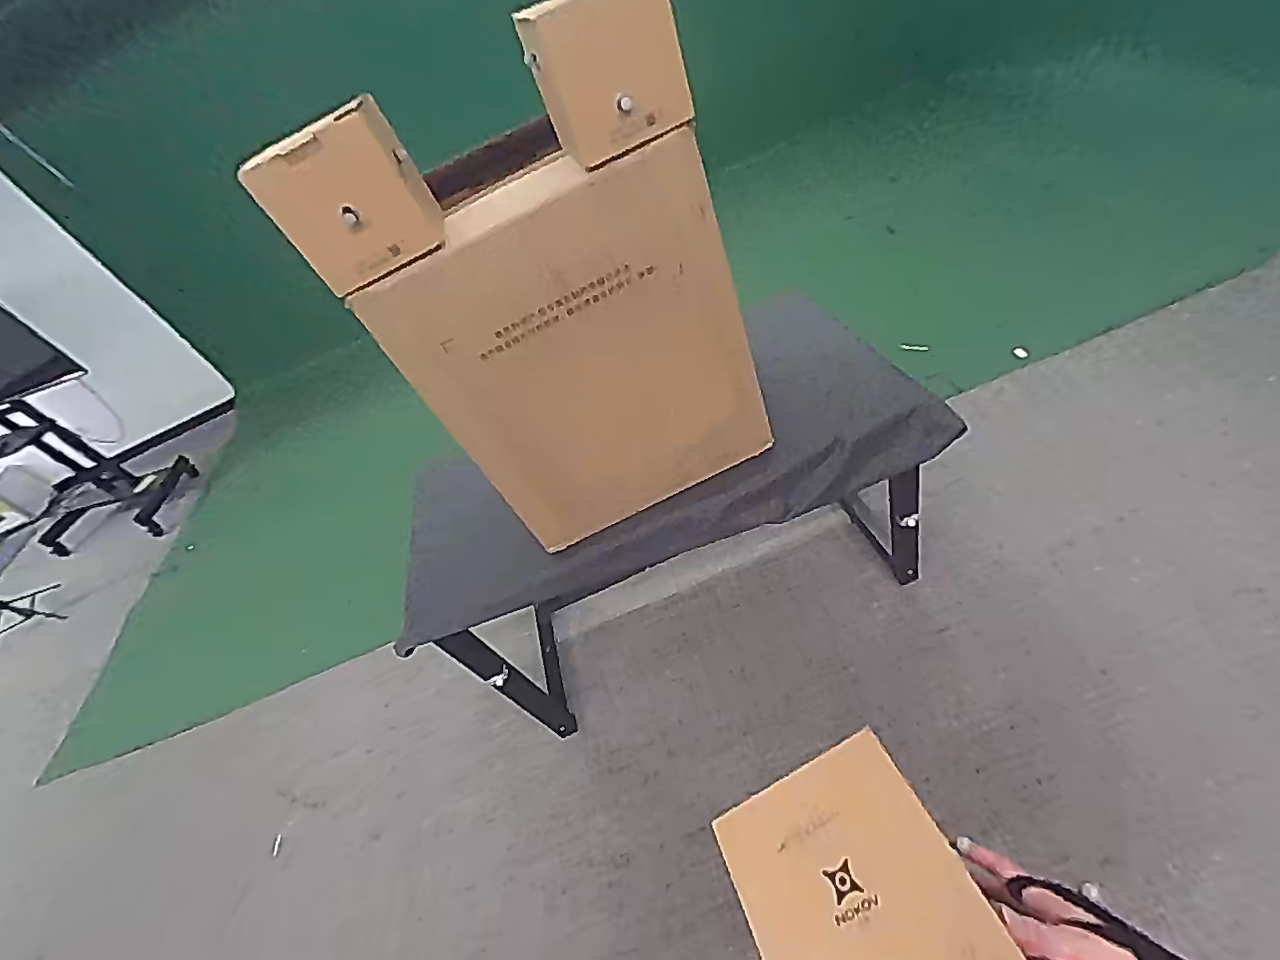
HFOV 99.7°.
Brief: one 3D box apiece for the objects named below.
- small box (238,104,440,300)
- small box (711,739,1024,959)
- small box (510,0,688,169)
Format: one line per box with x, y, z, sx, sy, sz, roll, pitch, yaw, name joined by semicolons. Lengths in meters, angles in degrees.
-0.393;-0.375;0.743;0.168;0.176;0.179;-27;43;3;small box
0.192;0.360;0.450;0.168;0.176;0.179;-35;37;5;small box
-0.055;-0.547;0.726;0.168;0.176;0.179;-26;44;2;small box
